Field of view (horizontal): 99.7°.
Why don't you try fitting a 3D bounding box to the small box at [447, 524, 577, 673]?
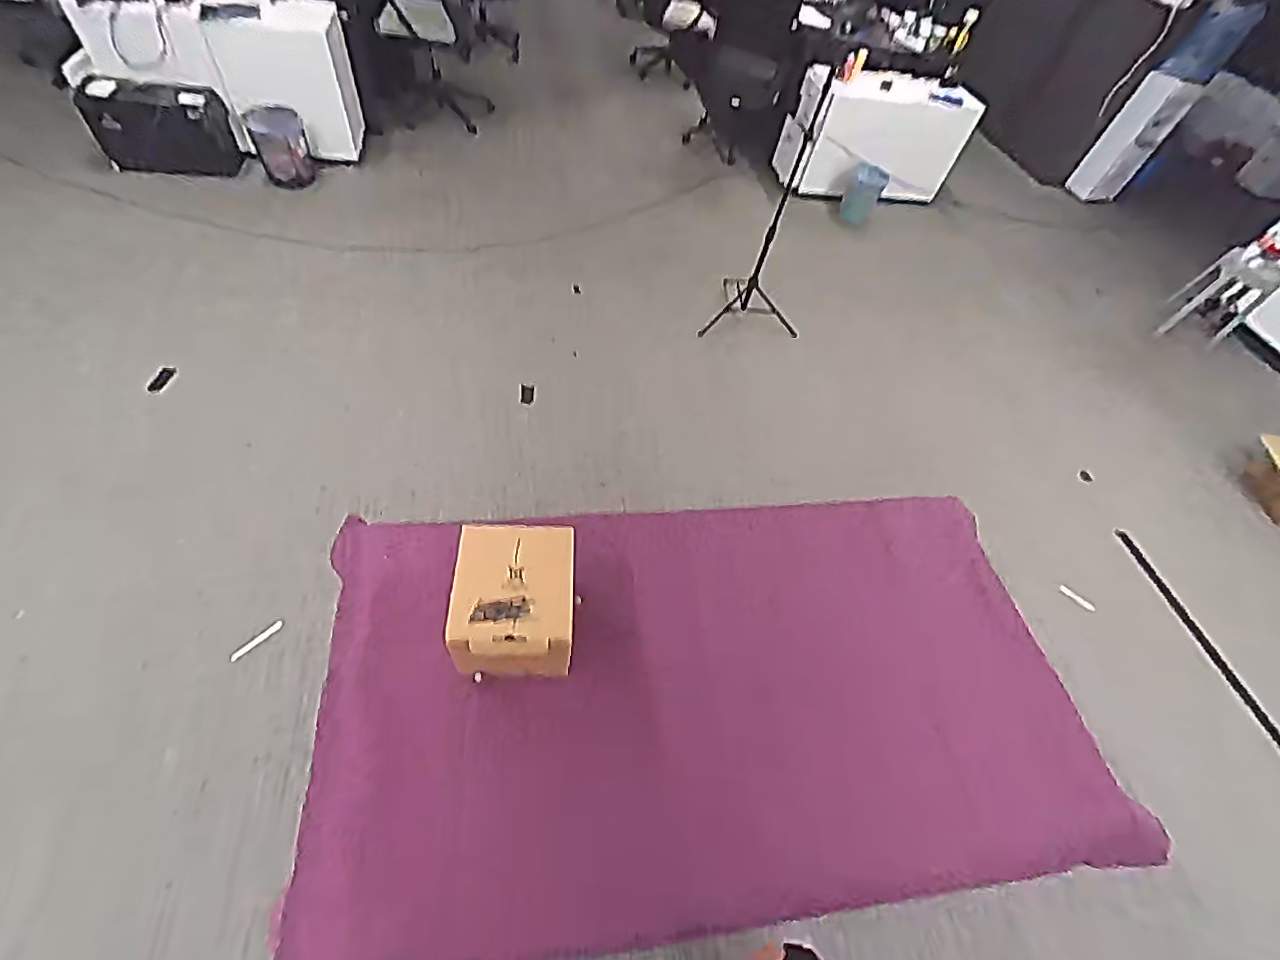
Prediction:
[{"bbox_3d":[-0.183,0.185,0.818,0.168,0.176,0.179,3,54,-9],"label":"small box"}]
